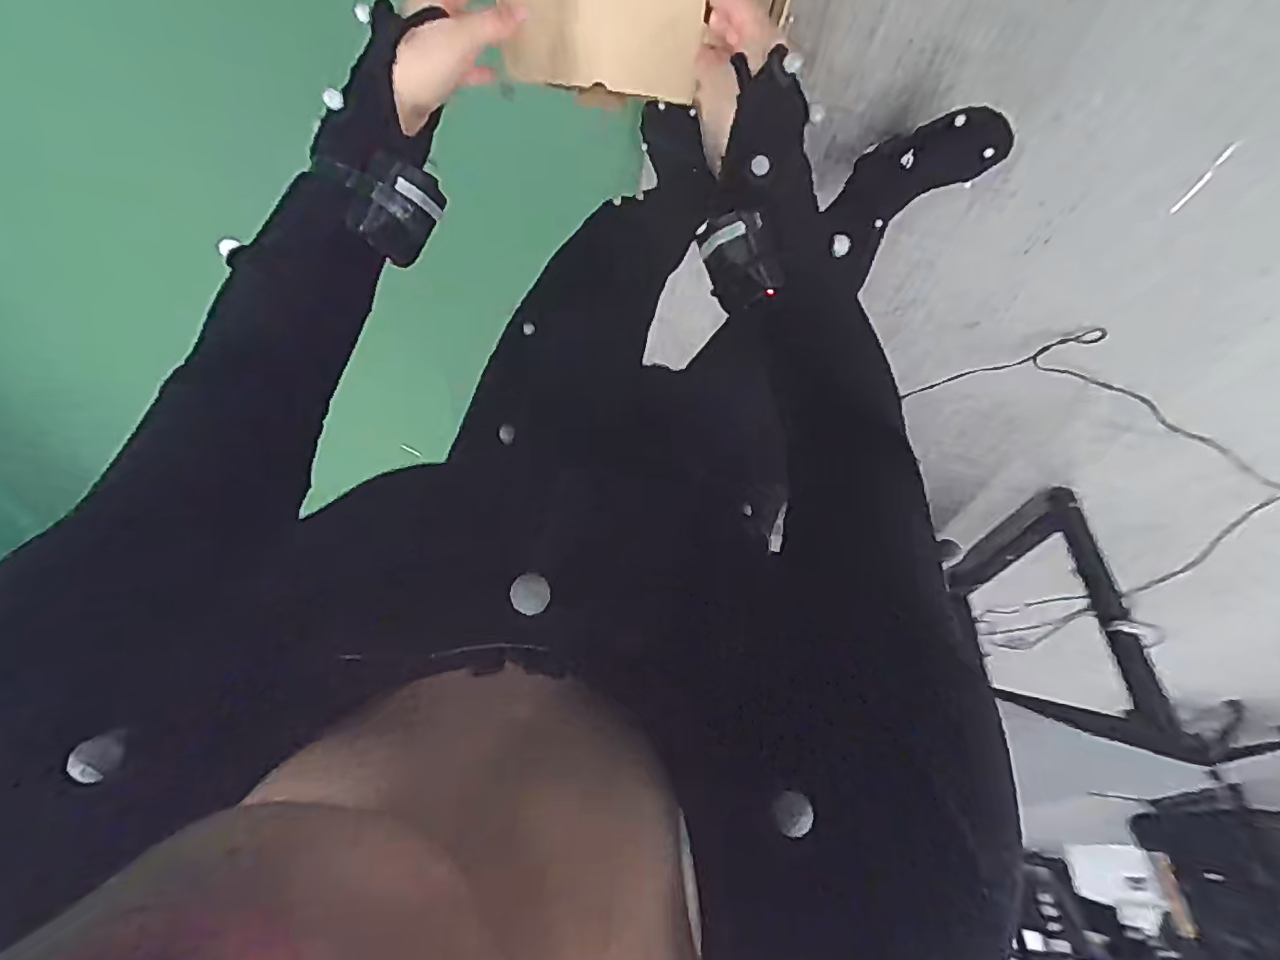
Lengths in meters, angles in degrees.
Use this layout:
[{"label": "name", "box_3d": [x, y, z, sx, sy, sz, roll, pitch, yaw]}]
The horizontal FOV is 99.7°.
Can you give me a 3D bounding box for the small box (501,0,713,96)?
[{"label": "small box", "box_3d": [-0.015, -0.455, 0.440, 0.168, 0.176, 0.179, 8, 144, 0]}]
